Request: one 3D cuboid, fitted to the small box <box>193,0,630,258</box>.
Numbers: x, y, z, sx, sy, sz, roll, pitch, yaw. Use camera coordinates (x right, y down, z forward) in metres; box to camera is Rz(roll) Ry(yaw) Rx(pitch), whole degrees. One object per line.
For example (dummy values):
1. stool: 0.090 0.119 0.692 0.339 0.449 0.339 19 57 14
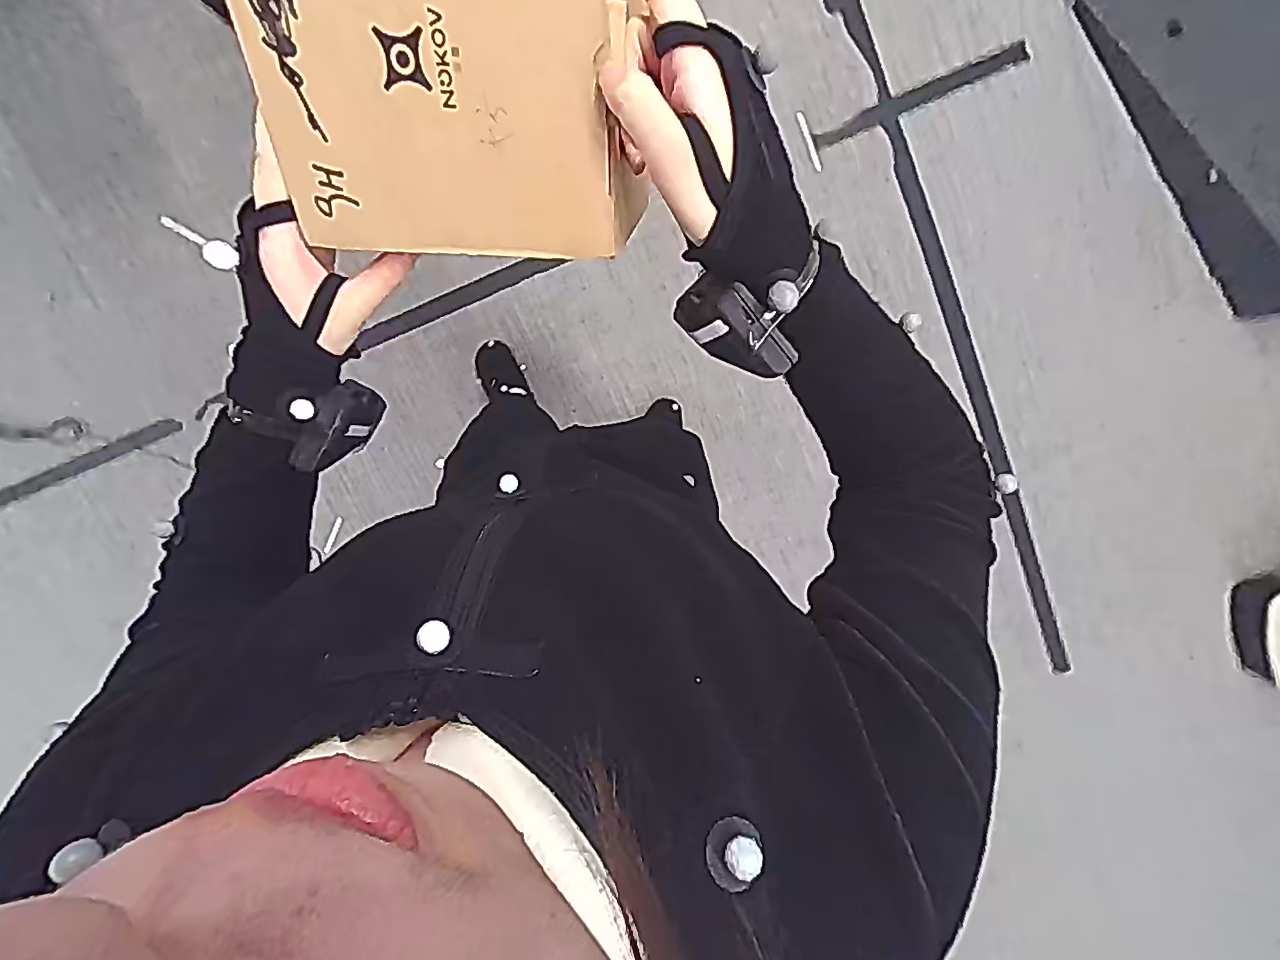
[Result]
1. small box: -0.098 -0.233 0.300 0.179 0.176 0.168 4 126 4
